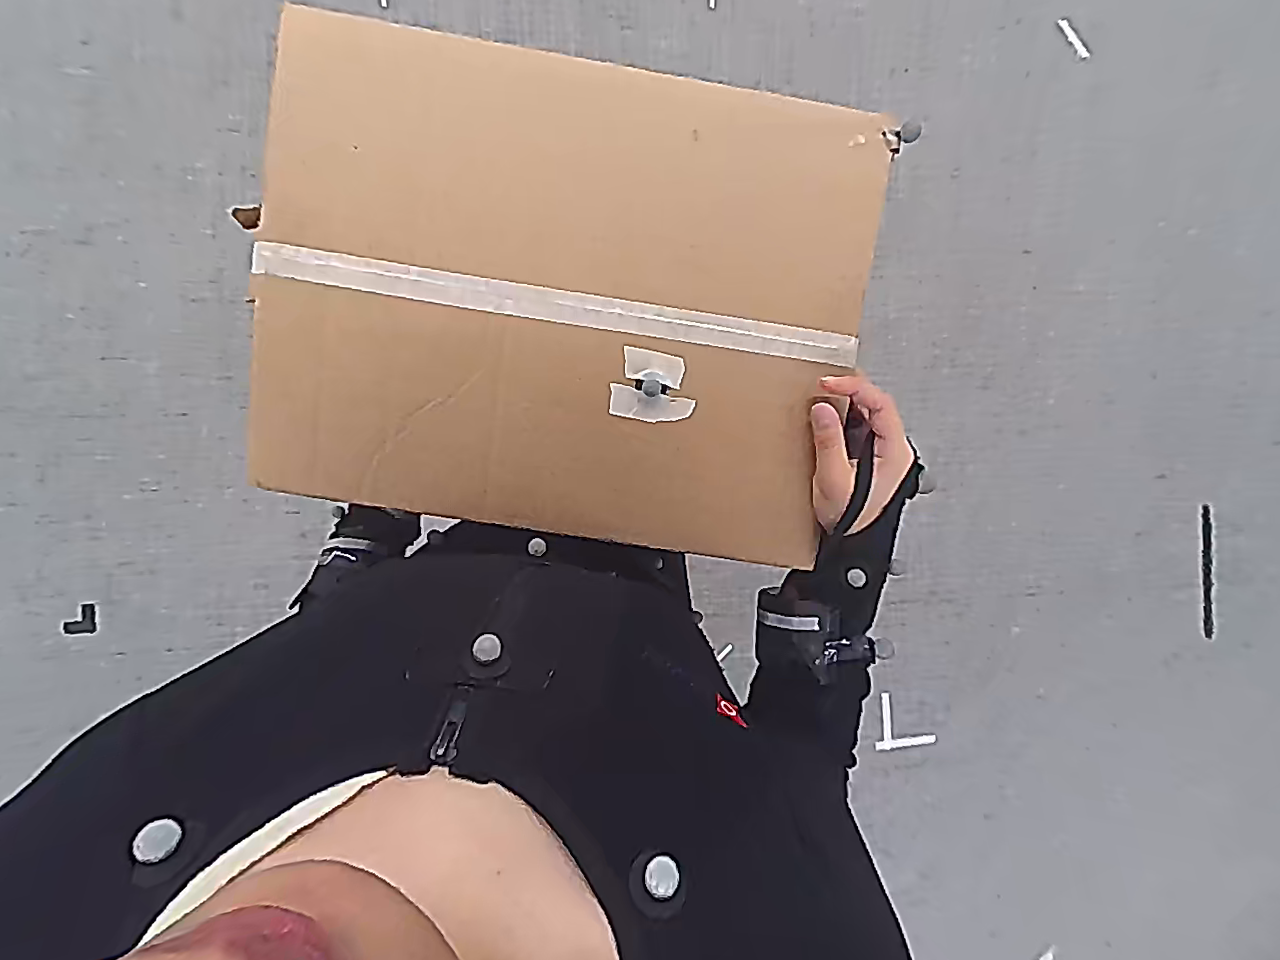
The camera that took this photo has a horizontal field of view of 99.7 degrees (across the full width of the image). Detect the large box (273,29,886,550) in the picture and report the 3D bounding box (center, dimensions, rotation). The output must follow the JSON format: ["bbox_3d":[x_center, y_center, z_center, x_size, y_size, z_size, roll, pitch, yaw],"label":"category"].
[{"bbox_3d":[-0.052,-0.137,0.525,0.408,0.320,0.320,8,97,-3],"label":"large box"}]
